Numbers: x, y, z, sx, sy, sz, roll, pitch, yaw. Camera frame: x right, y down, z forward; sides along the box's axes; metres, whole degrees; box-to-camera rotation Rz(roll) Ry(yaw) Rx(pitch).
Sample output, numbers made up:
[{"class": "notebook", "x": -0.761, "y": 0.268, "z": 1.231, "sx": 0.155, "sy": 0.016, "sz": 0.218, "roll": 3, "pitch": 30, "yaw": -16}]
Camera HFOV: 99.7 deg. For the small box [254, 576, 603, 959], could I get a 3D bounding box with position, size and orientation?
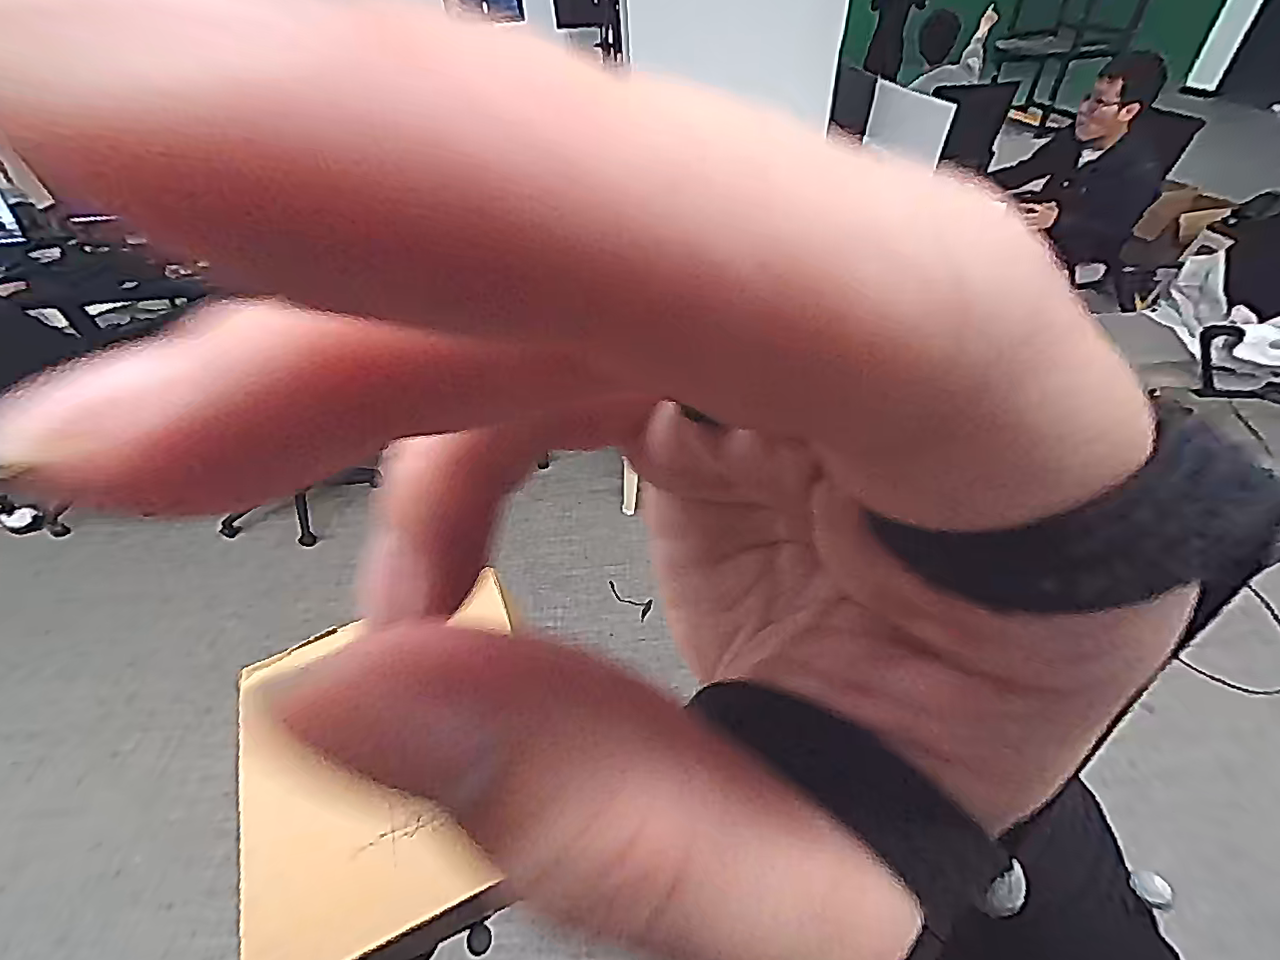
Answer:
[{"class": "small box", "x": -0.136, "y": 0.204, "z": 0.384, "sx": 0.168, "sy": 0.176, "sz": 0.179, "roll": -22, "pitch": 55, "yaw": -12}]
